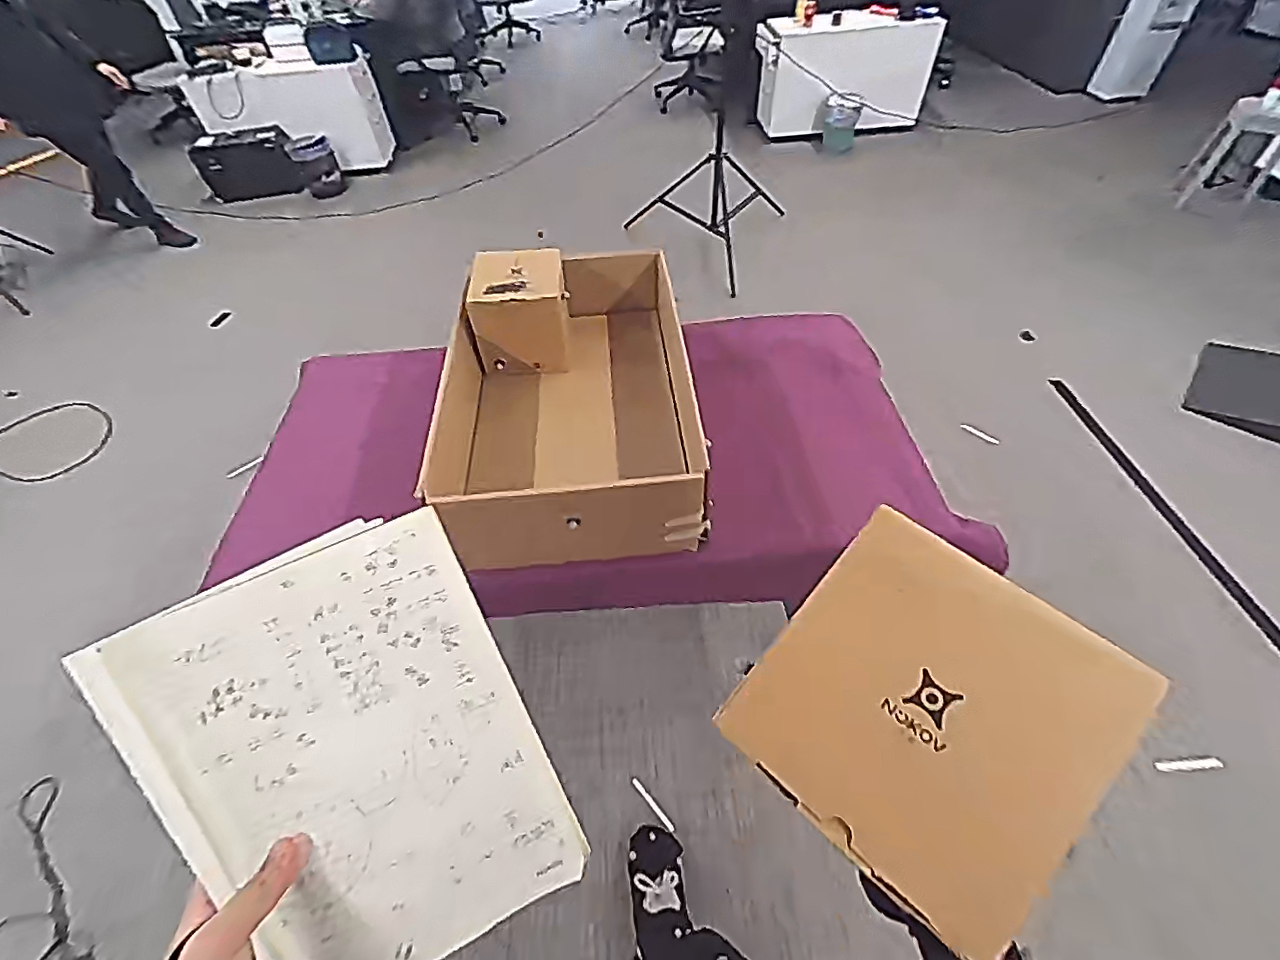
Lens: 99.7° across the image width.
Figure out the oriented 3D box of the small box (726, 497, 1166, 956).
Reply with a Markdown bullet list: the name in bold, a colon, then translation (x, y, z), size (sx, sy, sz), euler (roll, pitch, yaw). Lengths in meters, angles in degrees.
- **small box**: translation (0.177, 0.146, 0.372), size (0.168, 0.176, 0.179), euler (37, 81, 23)
